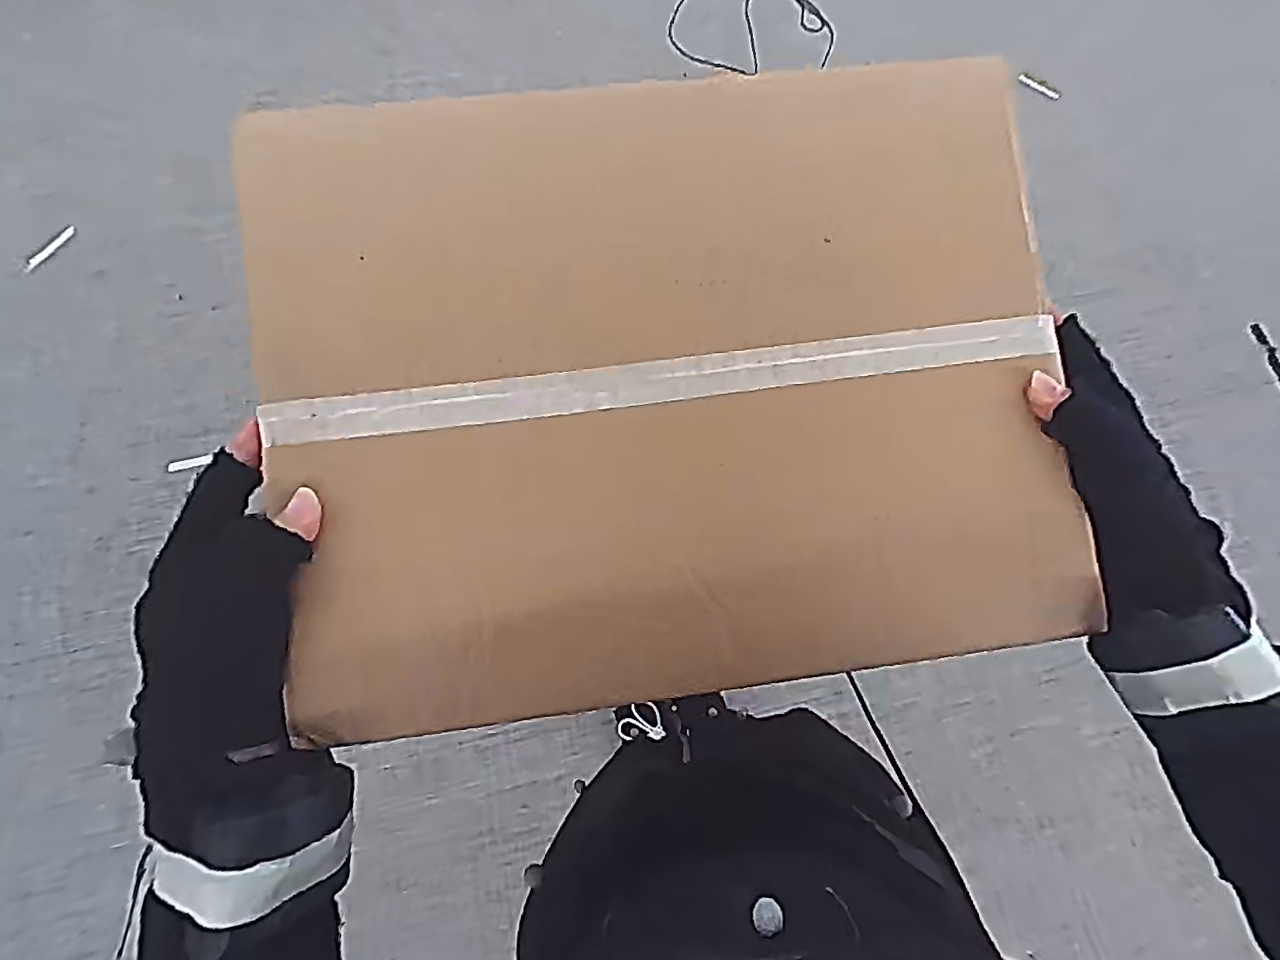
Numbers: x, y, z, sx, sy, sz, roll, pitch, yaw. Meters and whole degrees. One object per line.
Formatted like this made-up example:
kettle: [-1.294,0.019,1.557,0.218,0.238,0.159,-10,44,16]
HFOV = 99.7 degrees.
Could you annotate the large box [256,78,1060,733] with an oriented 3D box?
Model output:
large box: [0.007,-0.044,0.435,0.408,0.320,0.320,-7,86,-4]
